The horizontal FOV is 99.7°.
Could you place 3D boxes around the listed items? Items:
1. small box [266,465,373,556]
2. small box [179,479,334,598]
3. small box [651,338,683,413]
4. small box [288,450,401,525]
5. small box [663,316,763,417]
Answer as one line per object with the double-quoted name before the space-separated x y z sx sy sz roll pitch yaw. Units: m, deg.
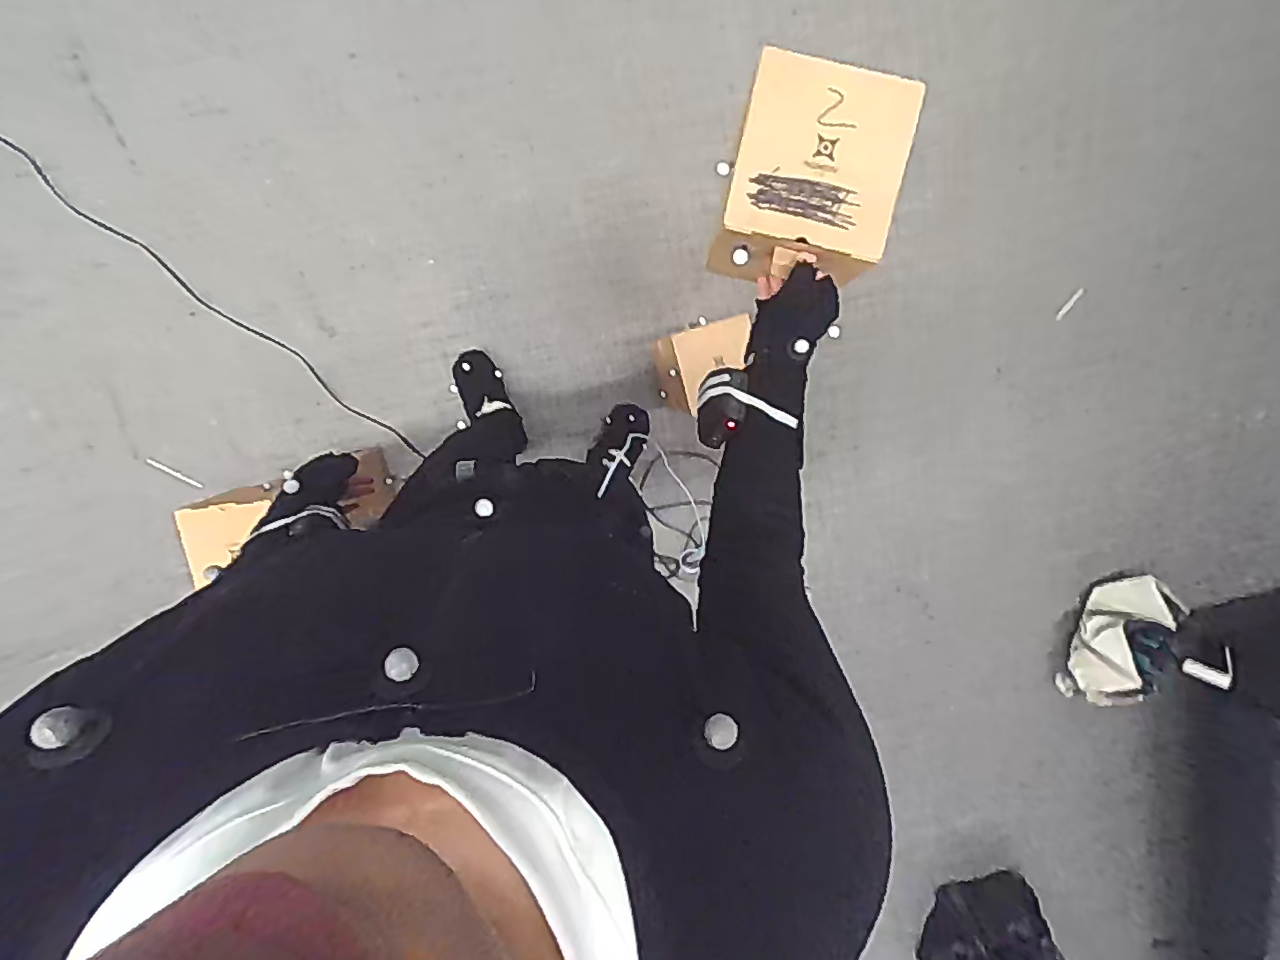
"small box" -0.722 0.070 1.195 0.168 0.176 0.179 -11 104 -2
"small box" -0.718 0.106 1.036 0.168 0.176 0.179 -6 102 -3
"small box" 0.131 -0.280 1.358 0.168 0.176 0.179 -16 103 -2
"small box" -0.731 0.028 1.356 0.168 0.176 0.179 -13 102 2
"small box" 0.154 -0.250 1.198 0.168 0.176 0.179 -15 104 -1
